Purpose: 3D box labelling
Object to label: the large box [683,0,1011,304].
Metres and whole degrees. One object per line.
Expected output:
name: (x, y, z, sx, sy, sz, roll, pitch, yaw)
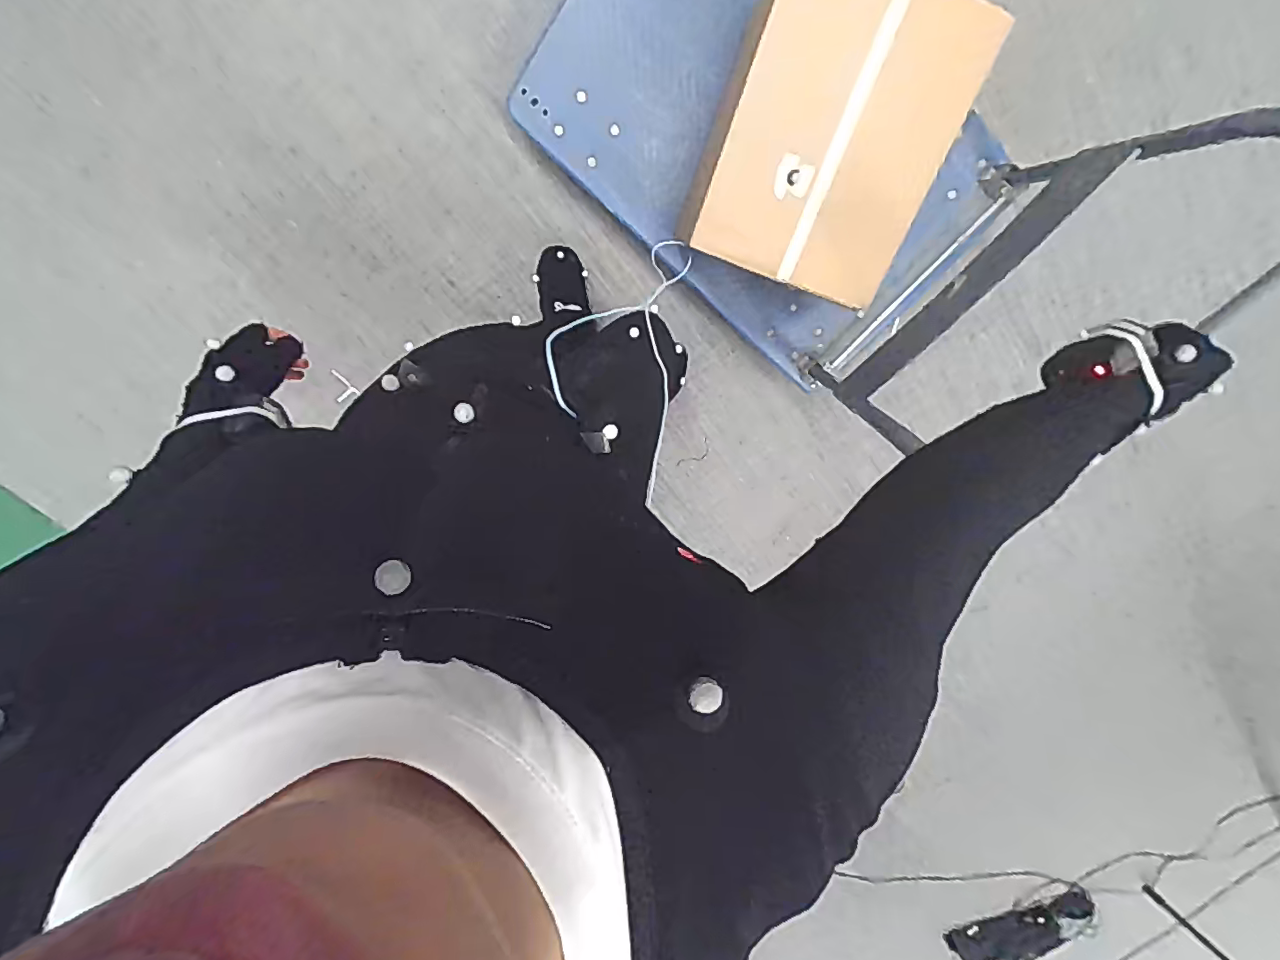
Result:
large box: (0.292, -0.566, 0.912, 0.320, 0.320, 0.408, 17, 116, -8)
